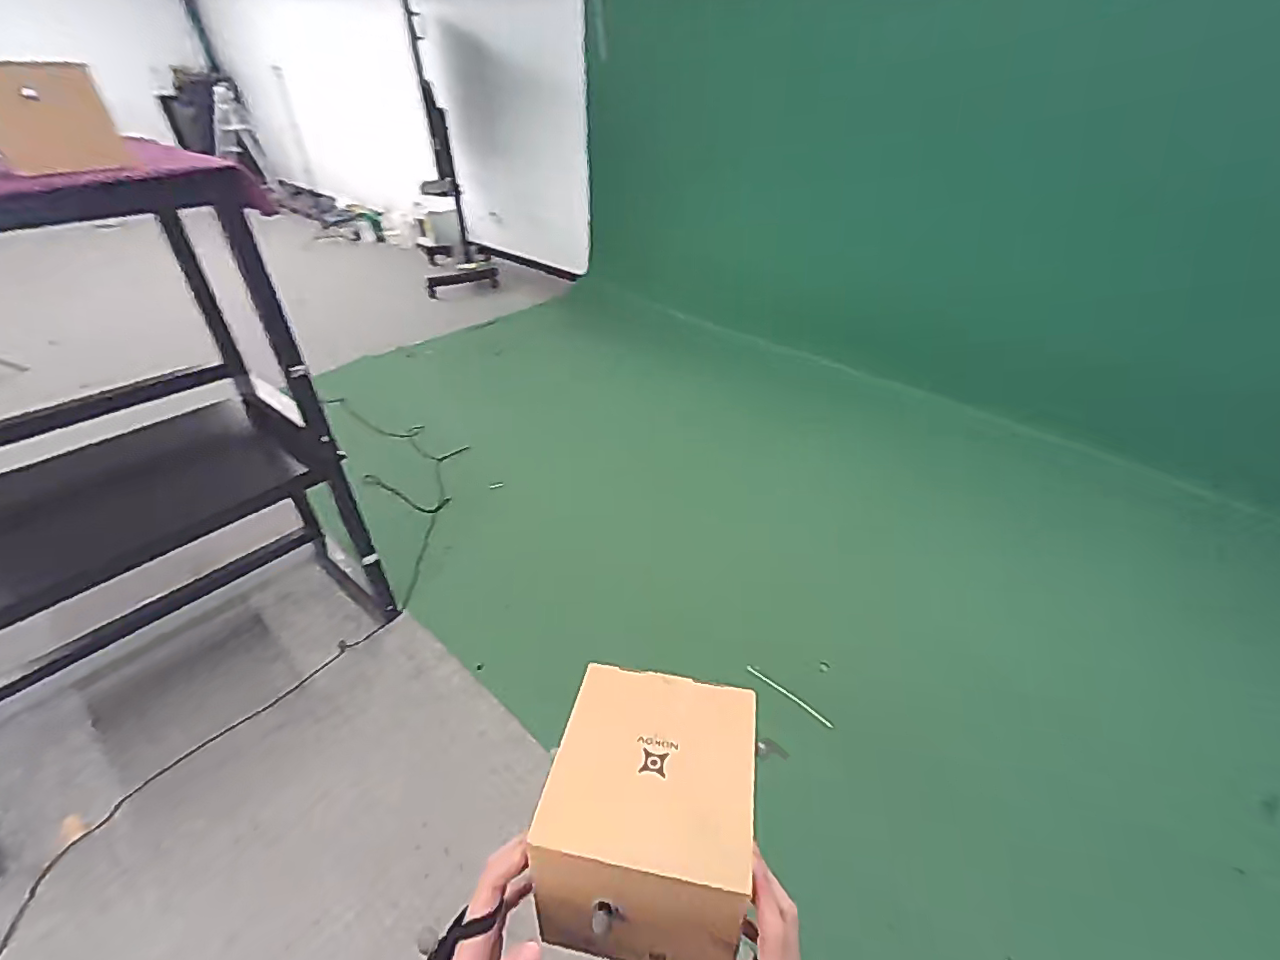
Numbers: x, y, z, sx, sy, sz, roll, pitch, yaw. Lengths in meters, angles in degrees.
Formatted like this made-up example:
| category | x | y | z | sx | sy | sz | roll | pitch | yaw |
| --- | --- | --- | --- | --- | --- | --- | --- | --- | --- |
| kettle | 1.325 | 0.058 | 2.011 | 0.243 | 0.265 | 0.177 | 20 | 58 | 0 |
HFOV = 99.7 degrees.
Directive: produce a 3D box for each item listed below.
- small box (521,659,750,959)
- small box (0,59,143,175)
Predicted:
| category | x | y | z | sx | sy | sz | roll | pitch | yaw |
| --- | --- | --- | --- | --- | --- | --- | --- | --- | --- |
| small box | 0.008 | 0.297 | 0.490 | 0.168 | 0.176 | 0.179 | 6 | 29 | 9 |
| small box | -1.097 | -0.677 | 1.010 | 0.168 | 0.176 | 0.179 | 28 | 44 | 31 |
